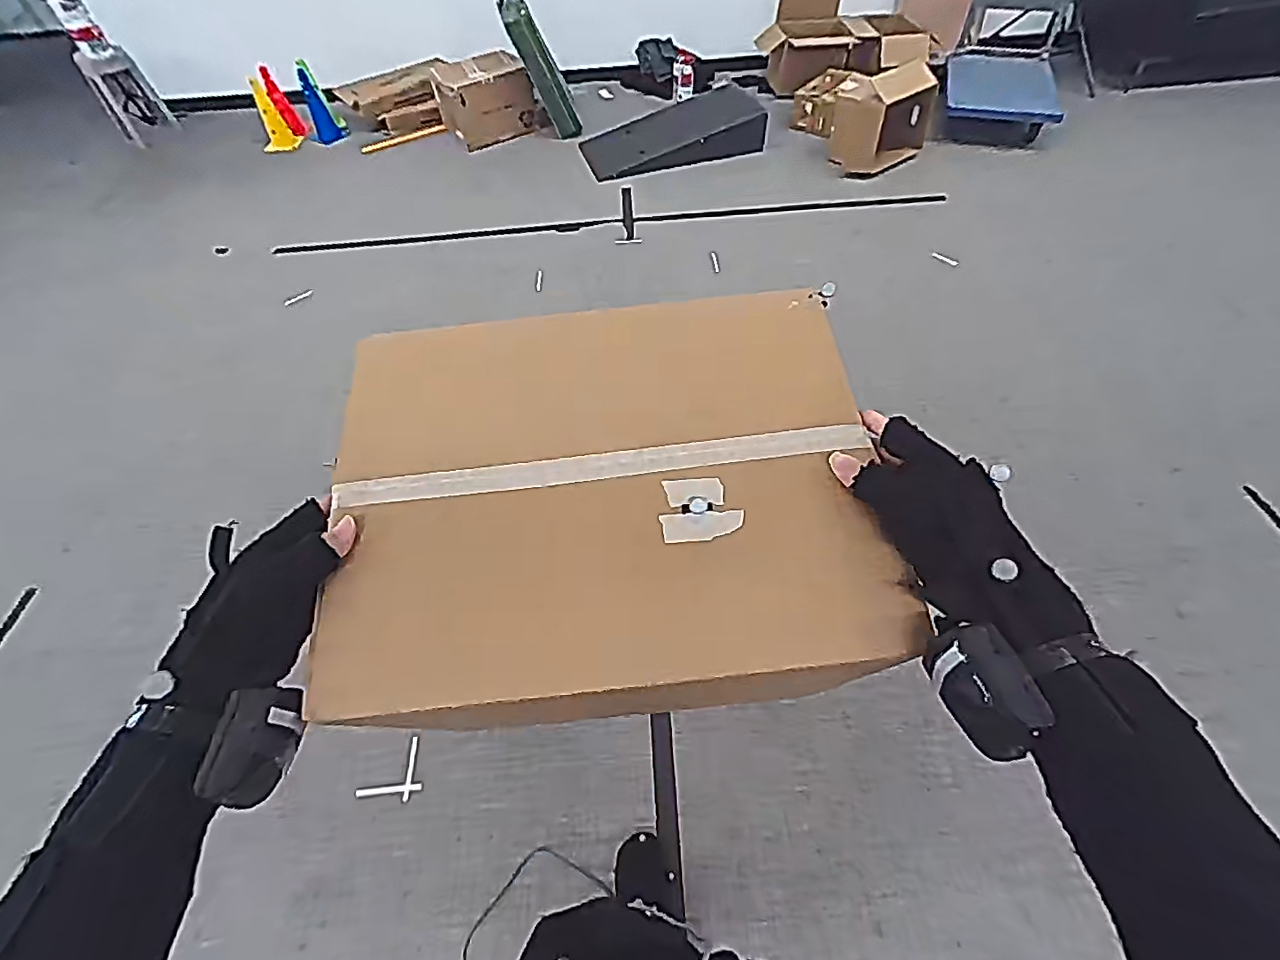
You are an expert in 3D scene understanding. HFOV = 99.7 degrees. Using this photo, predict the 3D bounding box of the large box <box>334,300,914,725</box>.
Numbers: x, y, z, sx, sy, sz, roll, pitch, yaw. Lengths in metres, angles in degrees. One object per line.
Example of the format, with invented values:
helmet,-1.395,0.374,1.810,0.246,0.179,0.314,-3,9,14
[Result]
large box,-0.021,0.059,0.560,0.408,0.320,0.320,-6,65,0
